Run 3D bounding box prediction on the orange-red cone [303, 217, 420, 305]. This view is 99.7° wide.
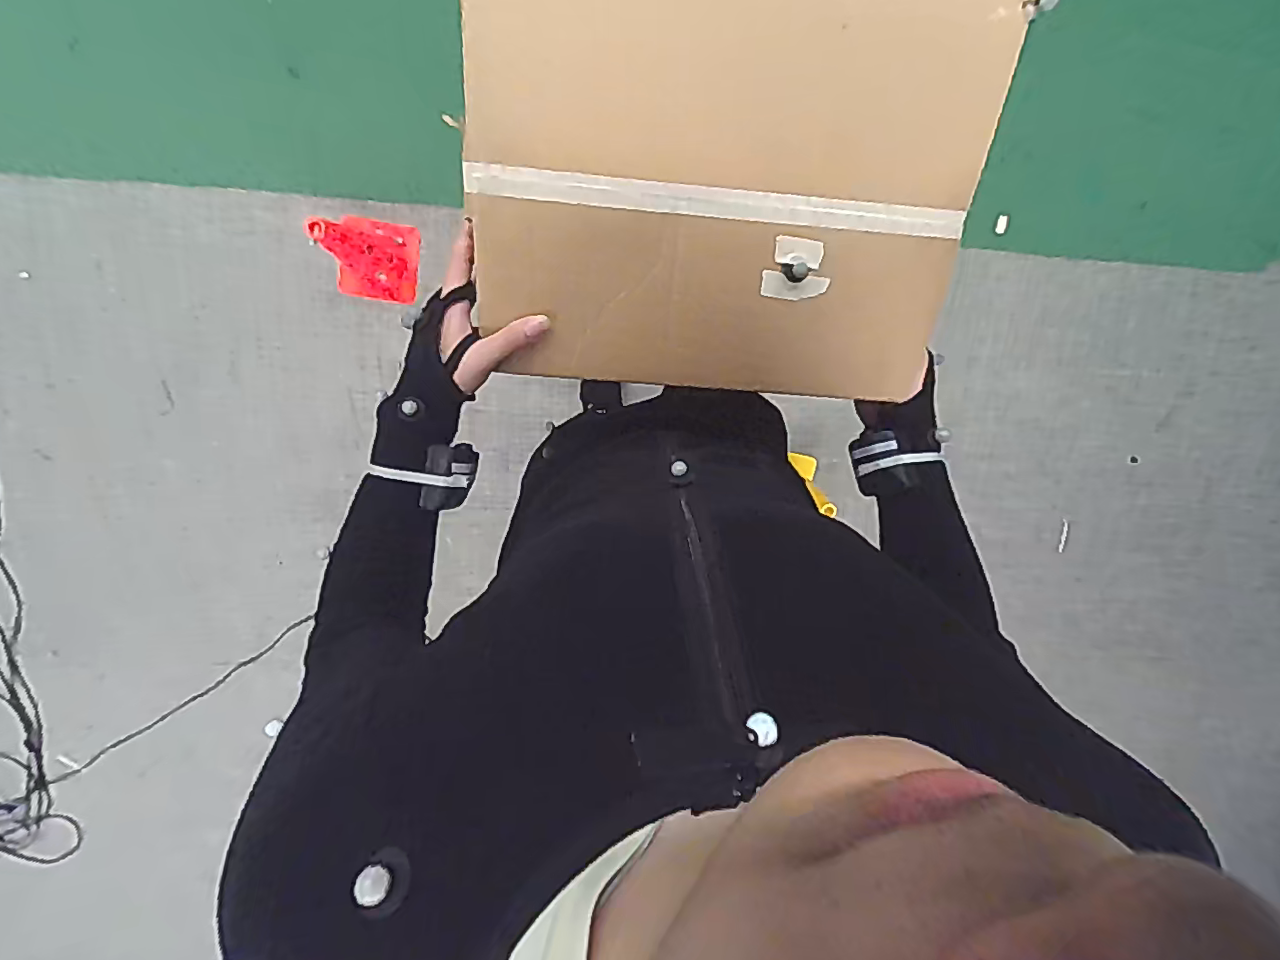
[{"bbox_3d":[-0.683,-0.547,1.270,0.199,0.360,0.198,9,100,-6],"label":"orange-red cone"}]

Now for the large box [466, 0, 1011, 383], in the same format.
[{"bbox_3d":[0.057,-0.304,0.577,0.408,0.320,0.320,3,118,-5],"label":"large box"}]
